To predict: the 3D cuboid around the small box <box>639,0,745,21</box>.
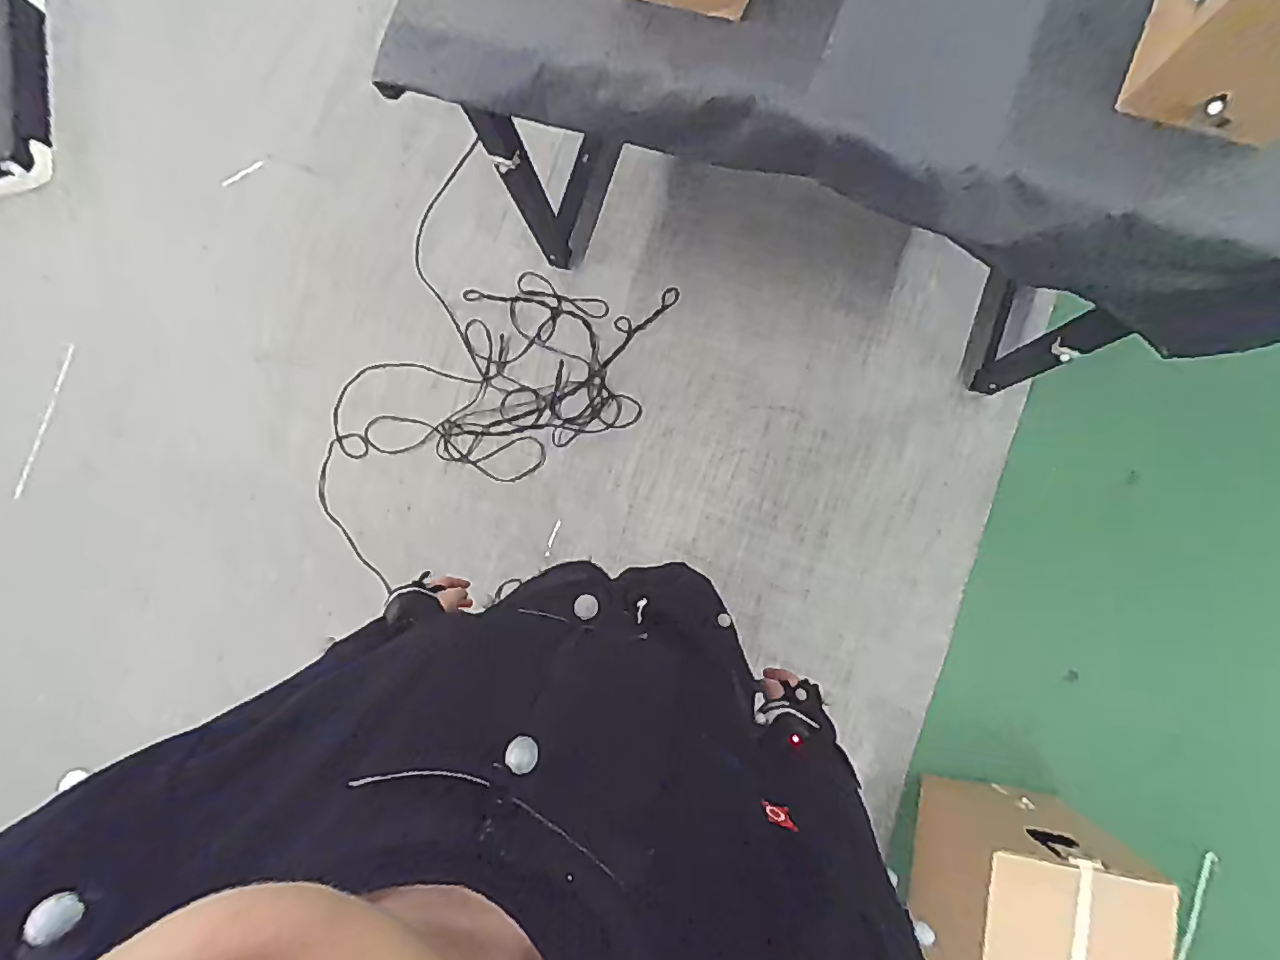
[{"bbox_3d":[0.060,-0.685,0.619,0.179,0.176,0.168,19,88,5],"label":"small box"}]
